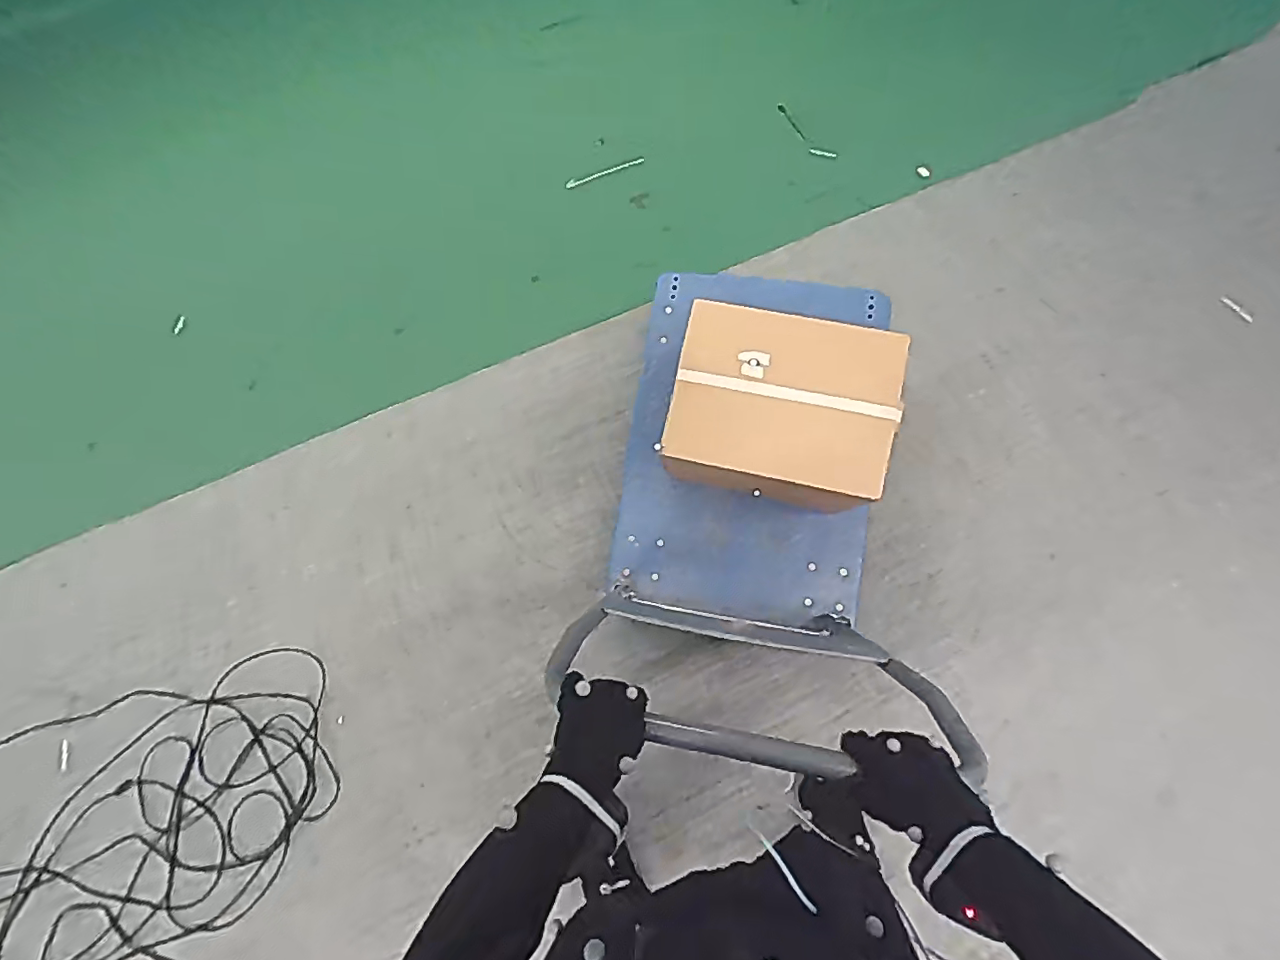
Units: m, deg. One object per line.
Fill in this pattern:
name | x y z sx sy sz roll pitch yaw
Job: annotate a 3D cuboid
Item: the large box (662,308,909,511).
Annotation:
large box | 0.287 -0.127 1.141 0.408 0.320 0.320 13 84 9
